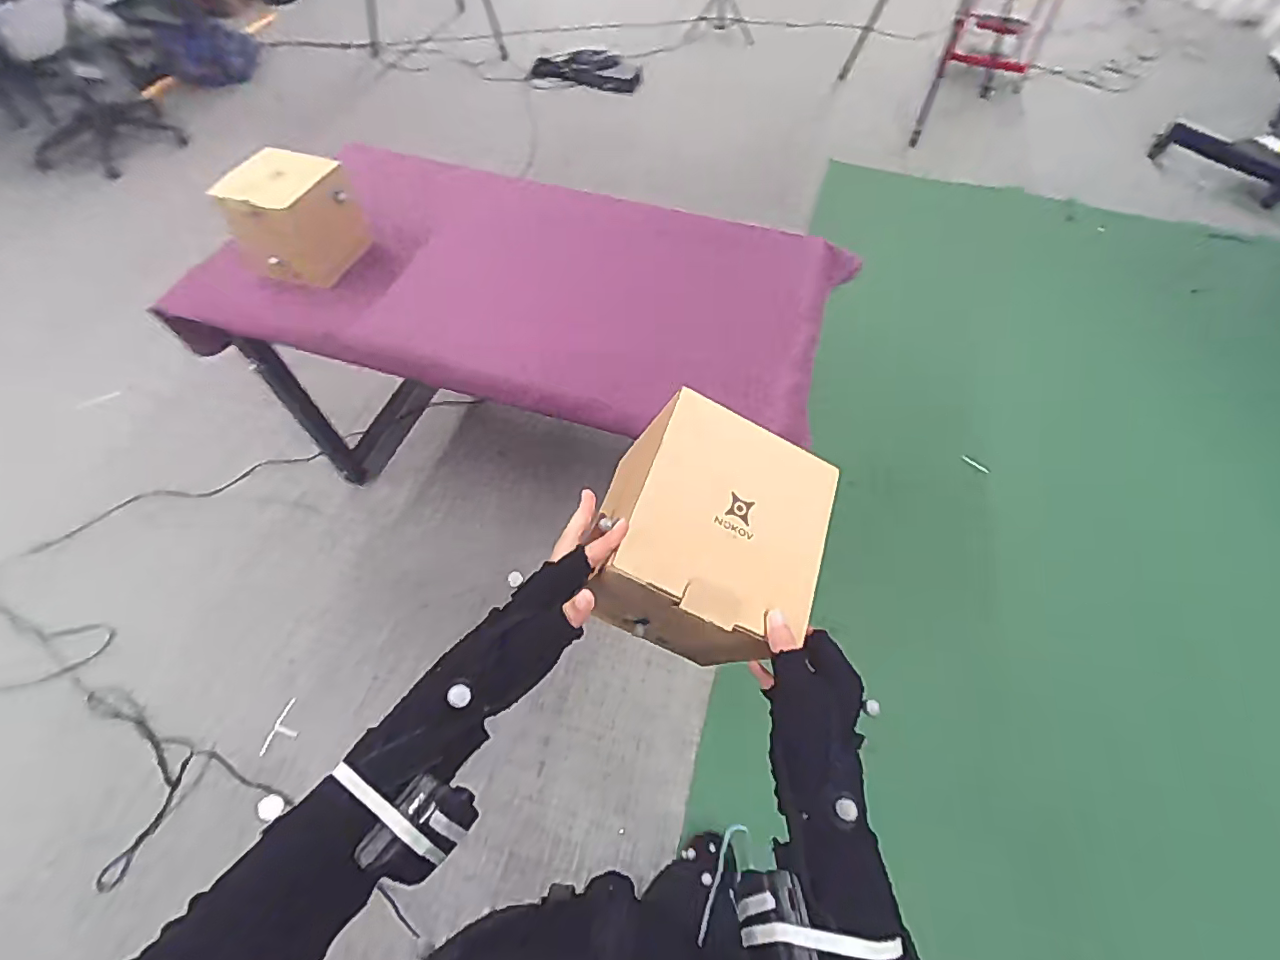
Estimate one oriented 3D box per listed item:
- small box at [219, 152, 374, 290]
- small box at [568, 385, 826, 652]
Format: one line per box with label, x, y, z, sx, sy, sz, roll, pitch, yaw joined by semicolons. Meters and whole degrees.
small box;-0.660;-0.511;1.072;0.168;0.176;0.179;15;58;8
small box;0.046;0.049;0.517;0.168;0.176;0.179;26;64;-10
